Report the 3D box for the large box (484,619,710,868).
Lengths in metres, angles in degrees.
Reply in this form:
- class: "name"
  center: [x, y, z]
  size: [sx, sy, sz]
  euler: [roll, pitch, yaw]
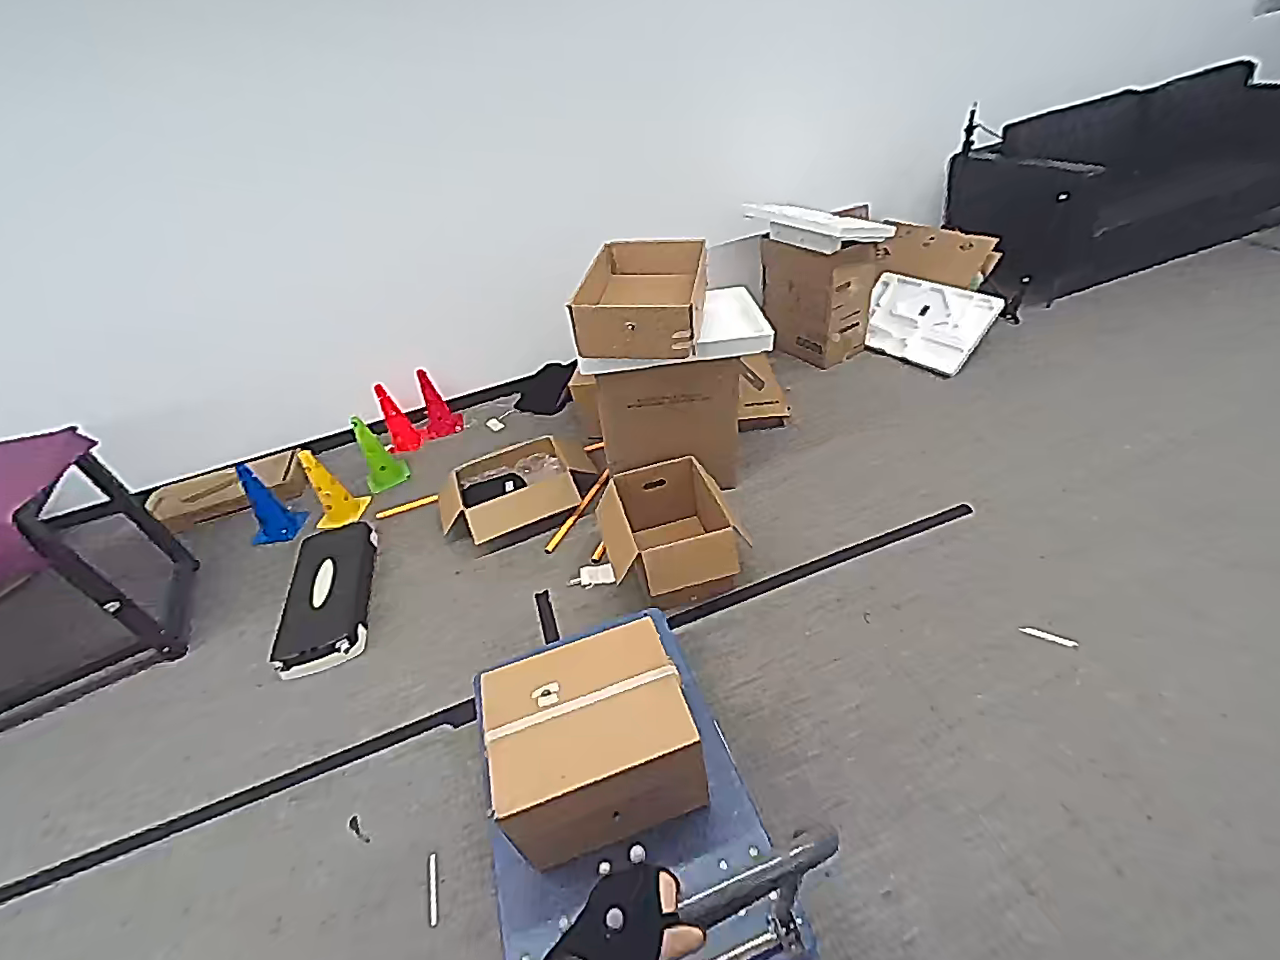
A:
- class: "large box"
  center: [-0.093, 0.586, 1.220]
  size: [0.408, 0.320, 0.320]
  euler: [-19, 38, -8]
